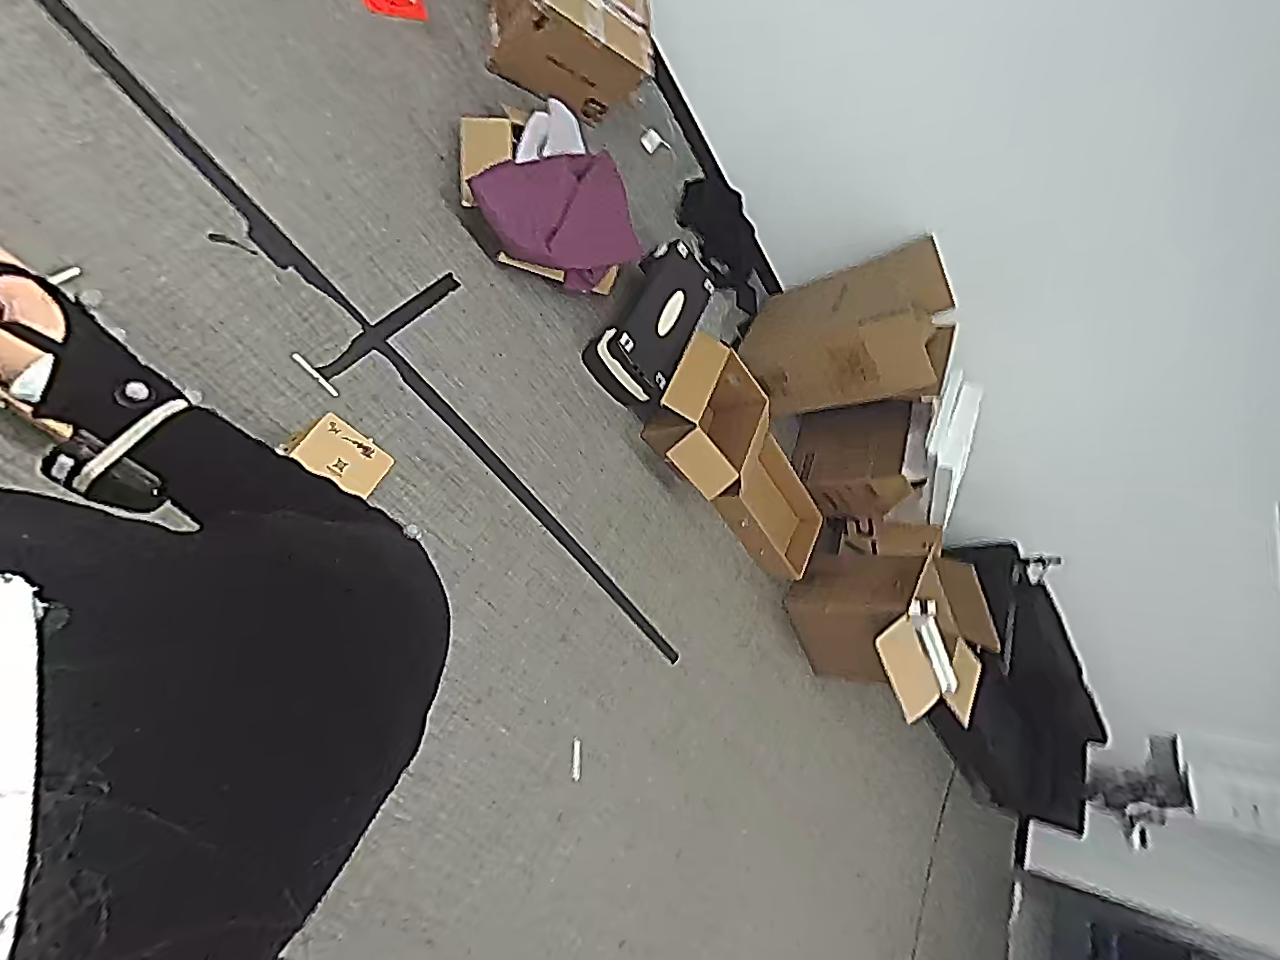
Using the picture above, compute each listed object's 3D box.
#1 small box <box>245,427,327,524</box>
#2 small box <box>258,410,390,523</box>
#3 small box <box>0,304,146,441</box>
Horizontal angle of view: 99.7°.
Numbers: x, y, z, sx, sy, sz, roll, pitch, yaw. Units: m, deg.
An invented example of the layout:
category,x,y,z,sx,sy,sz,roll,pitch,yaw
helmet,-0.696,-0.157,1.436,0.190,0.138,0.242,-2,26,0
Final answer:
category,x,y,z,sx,sy,sz,roll,pitch,yaw
small box,-0.791,-0.010,1.286,0.179,0.176,0.168,47,55,-29
small box,-0.683,-0.021,1.163,0.168,0.176,0.179,46,57,-30
small box,-1.092,-0.192,1.017,0.179,0.176,0.168,50,54,-28
